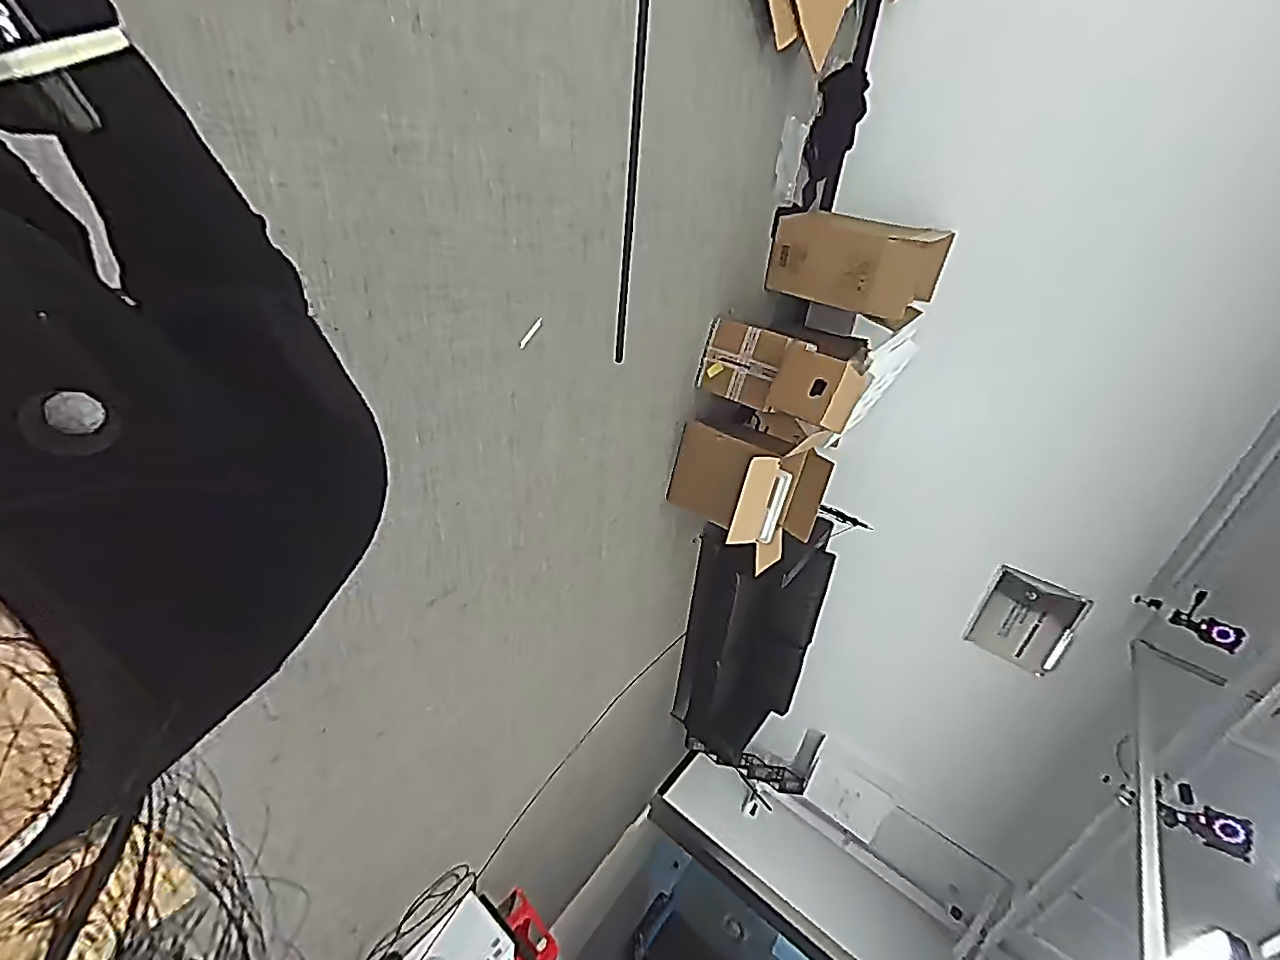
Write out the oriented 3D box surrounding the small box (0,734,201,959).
[{"bbox_3d":[-0.627,0.413,0.587,0.168,0.176,0.179,-27,133,-46],"label":"small box"}]
